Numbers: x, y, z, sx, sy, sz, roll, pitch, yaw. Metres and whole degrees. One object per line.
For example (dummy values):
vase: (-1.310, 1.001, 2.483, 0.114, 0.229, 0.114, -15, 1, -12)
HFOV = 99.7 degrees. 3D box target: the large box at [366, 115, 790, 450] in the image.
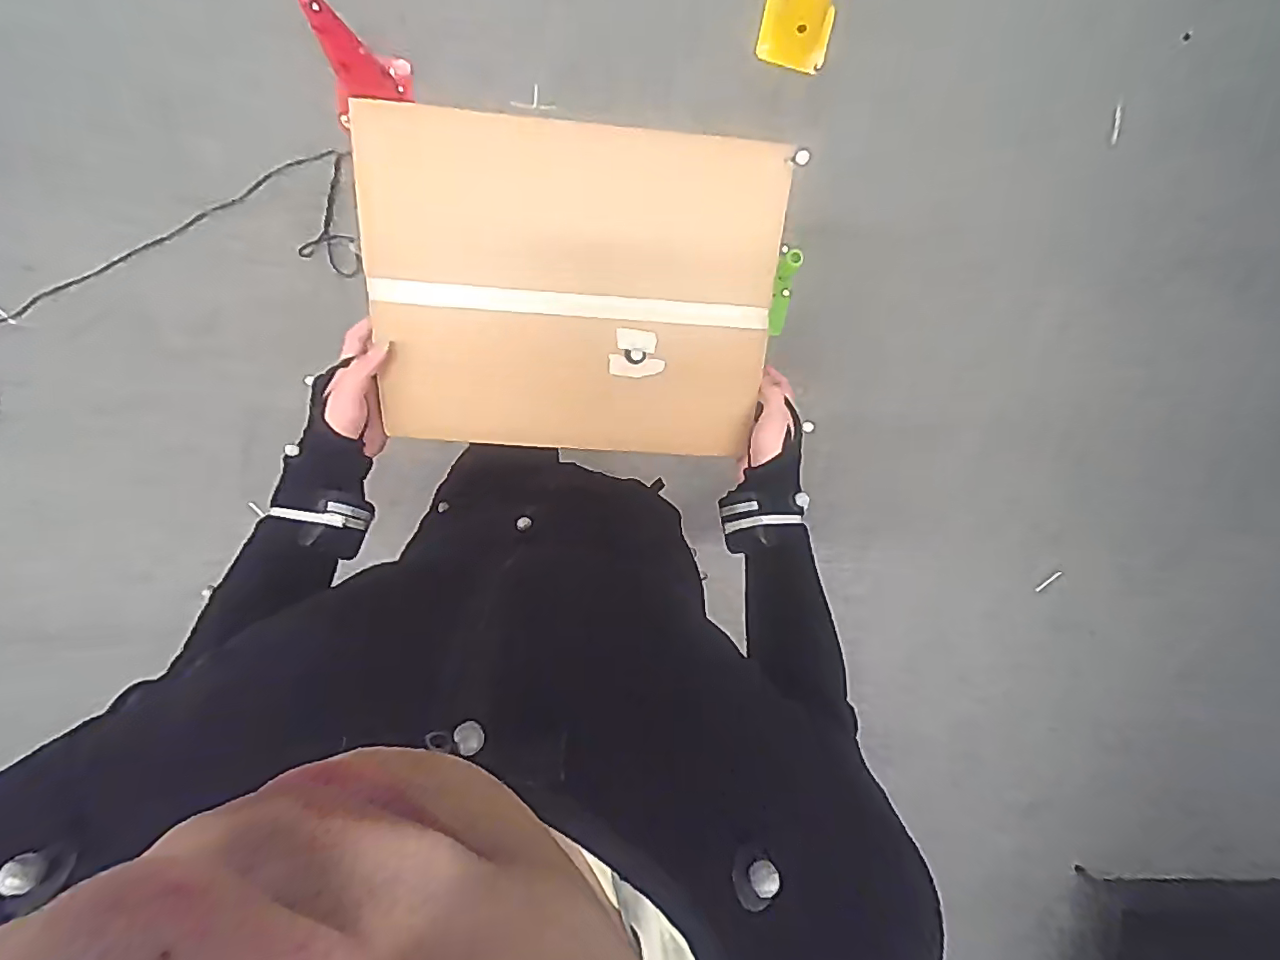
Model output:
large box: (-0.072, -0.237, 0.696, 0.408, 0.320, 0.320, 3, 113, -5)

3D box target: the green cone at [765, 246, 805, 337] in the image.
green cone: (0.354, -0.526, 1.430, 0.200, 0.368, 0.202, 9, 93, -5)
